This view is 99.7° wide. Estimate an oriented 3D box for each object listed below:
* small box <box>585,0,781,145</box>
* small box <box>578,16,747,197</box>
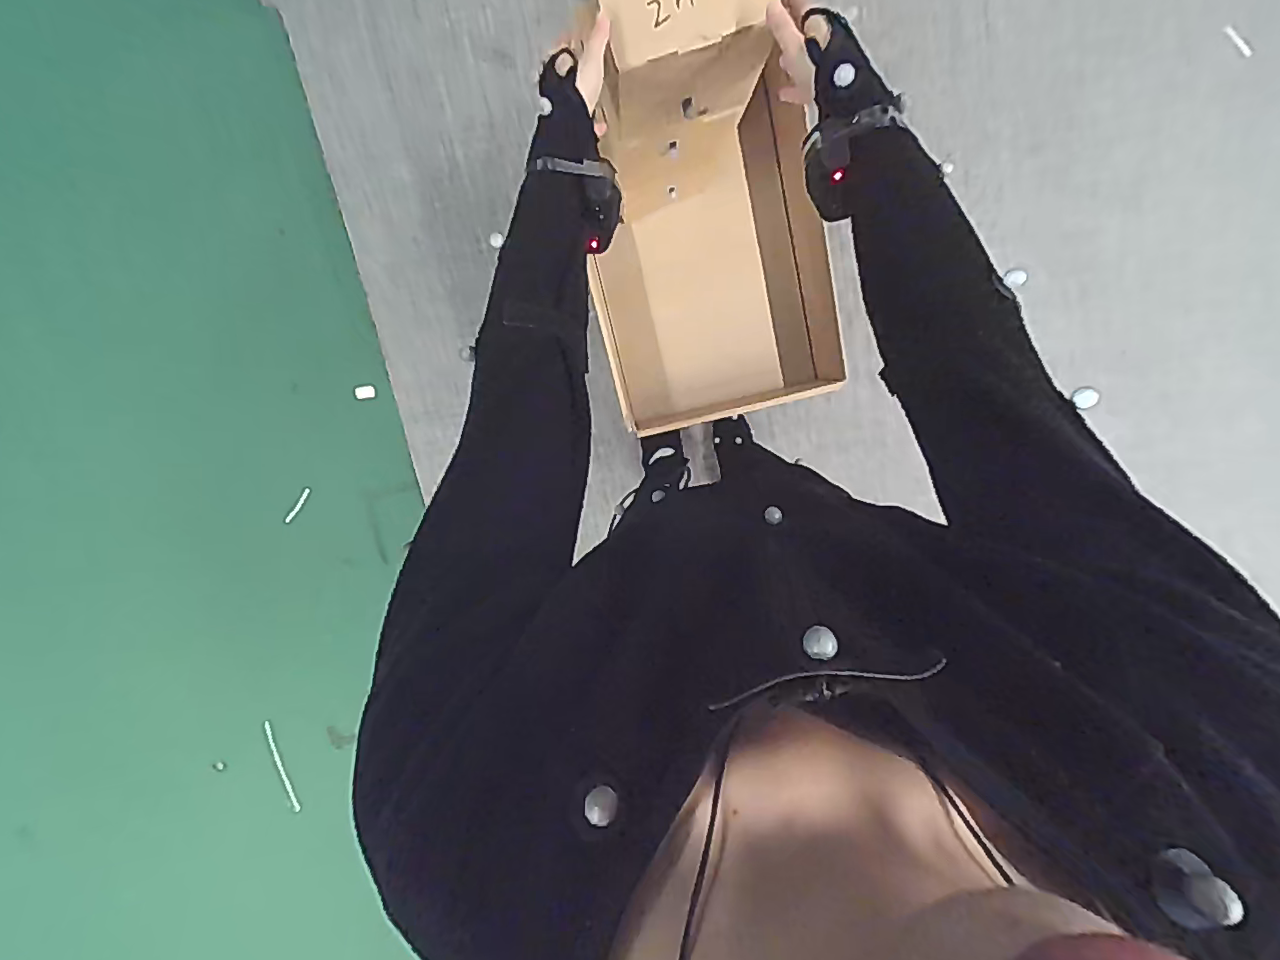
[{"bbox_3d":[0.033,-0.504,0.580,0.168,0.176,0.179,-16,101,3],"label":"small box"},{"bbox_3d":[0.027,-0.521,0.744,0.179,0.176,0.168,-18,100,3],"label":"small box"}]
